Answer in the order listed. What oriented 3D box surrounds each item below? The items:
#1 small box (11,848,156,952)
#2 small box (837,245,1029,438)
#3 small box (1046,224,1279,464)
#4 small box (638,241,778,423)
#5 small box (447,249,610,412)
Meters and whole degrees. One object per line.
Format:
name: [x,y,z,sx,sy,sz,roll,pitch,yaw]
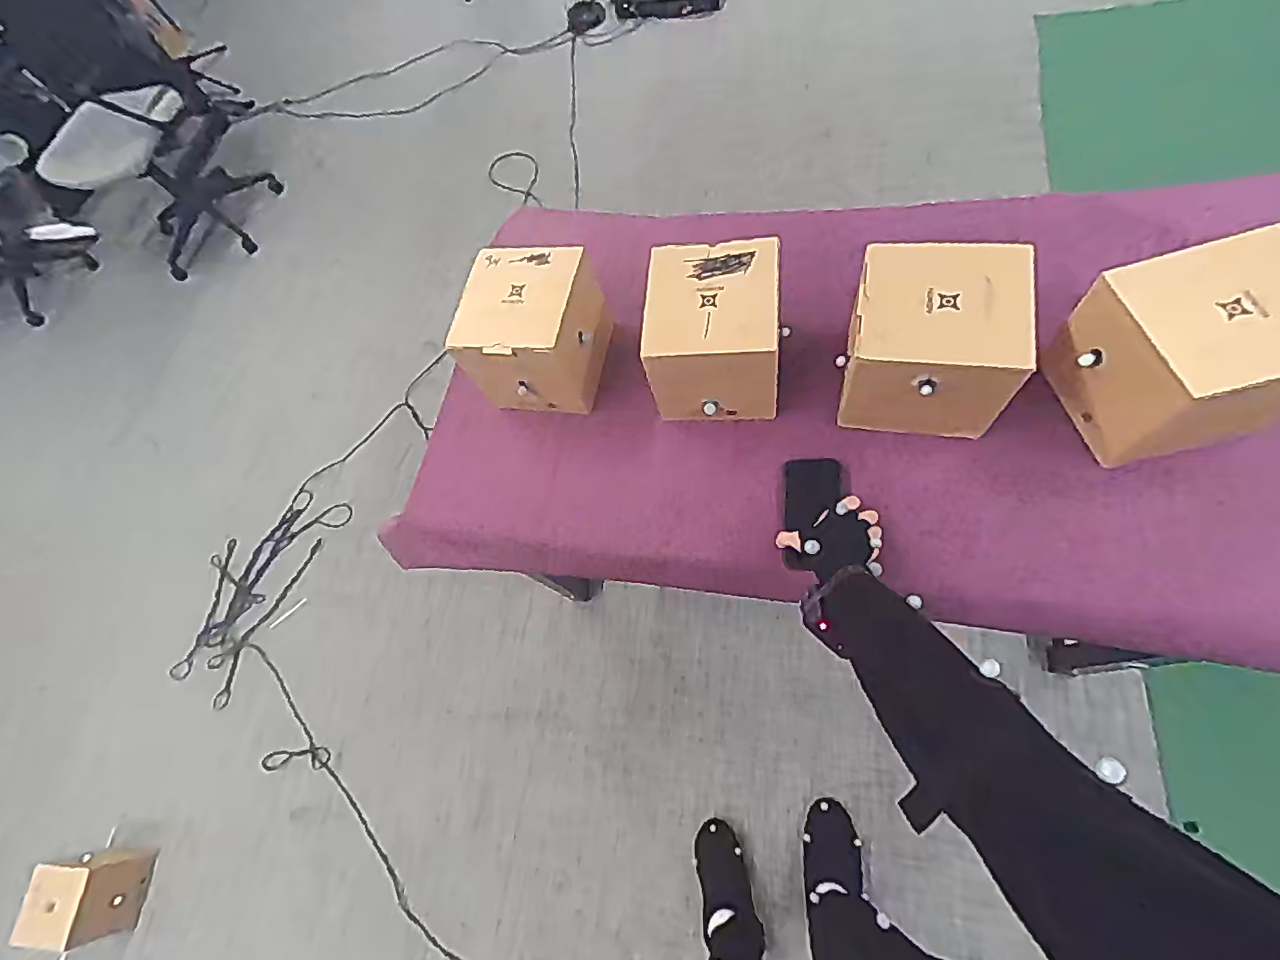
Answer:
small box: [-1.400,1.057,1.376,0.179,0.176,0.168,-4,67,12]
small box: [0.350,-0.166,0.673,0.179,0.176,0.168,8,70,17]
small box: [0.597,-0.137,0.599,0.179,0.176,0.168,-15,64,7]
small box: [0.102,-0.196,0.745,0.168,0.176,0.179,1,68,14]
small box: [-0.155,-0.218,0.817,0.168,0.176,0.179,6,69,16]
